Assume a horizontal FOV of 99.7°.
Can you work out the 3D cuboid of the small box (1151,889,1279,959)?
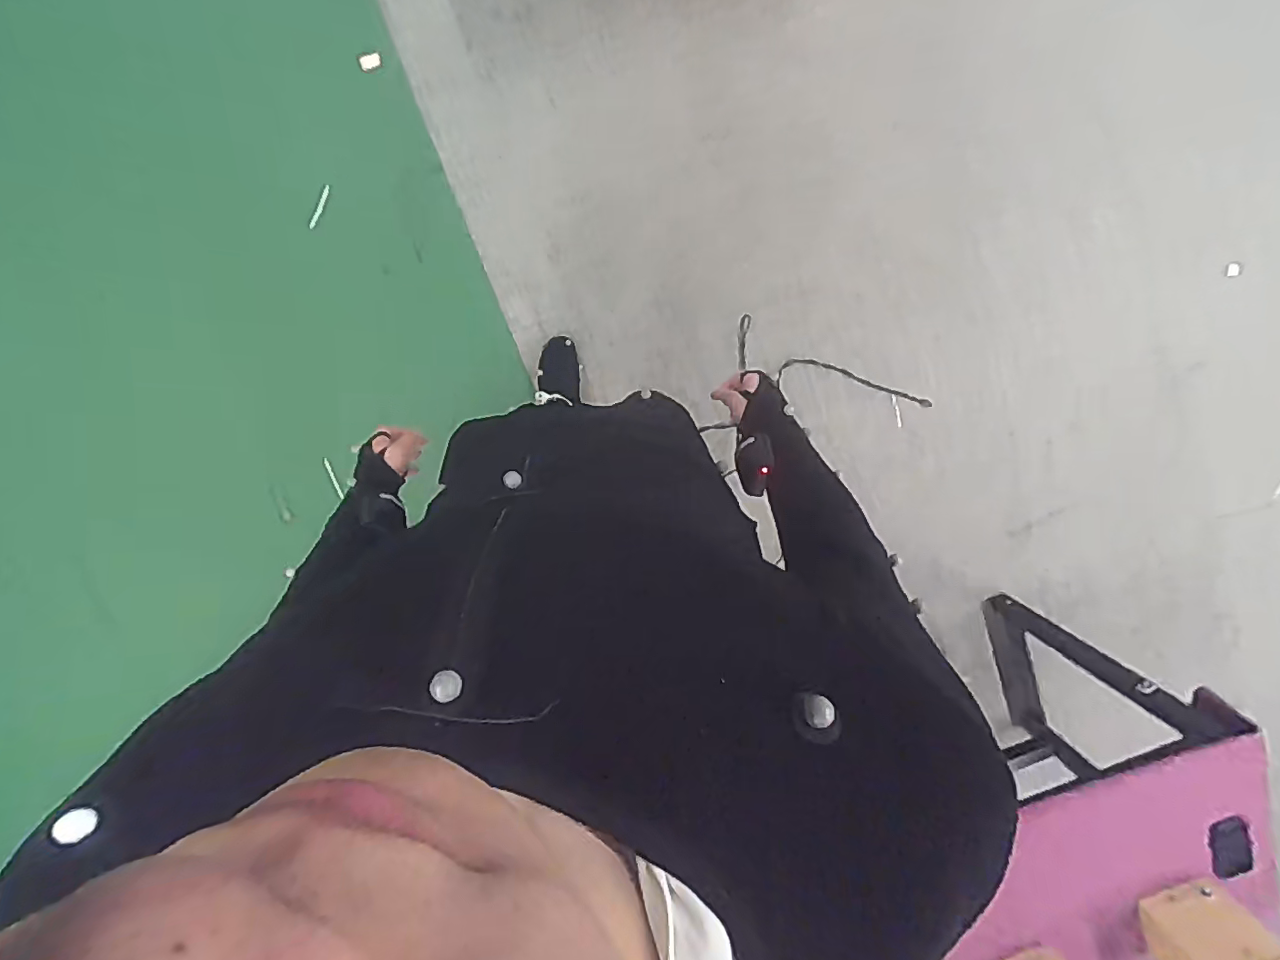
[{"bbox_3d":[1.219,0.995,1.121,0.168,0.176,0.179,-23,104,2],"label":"small box"}]
